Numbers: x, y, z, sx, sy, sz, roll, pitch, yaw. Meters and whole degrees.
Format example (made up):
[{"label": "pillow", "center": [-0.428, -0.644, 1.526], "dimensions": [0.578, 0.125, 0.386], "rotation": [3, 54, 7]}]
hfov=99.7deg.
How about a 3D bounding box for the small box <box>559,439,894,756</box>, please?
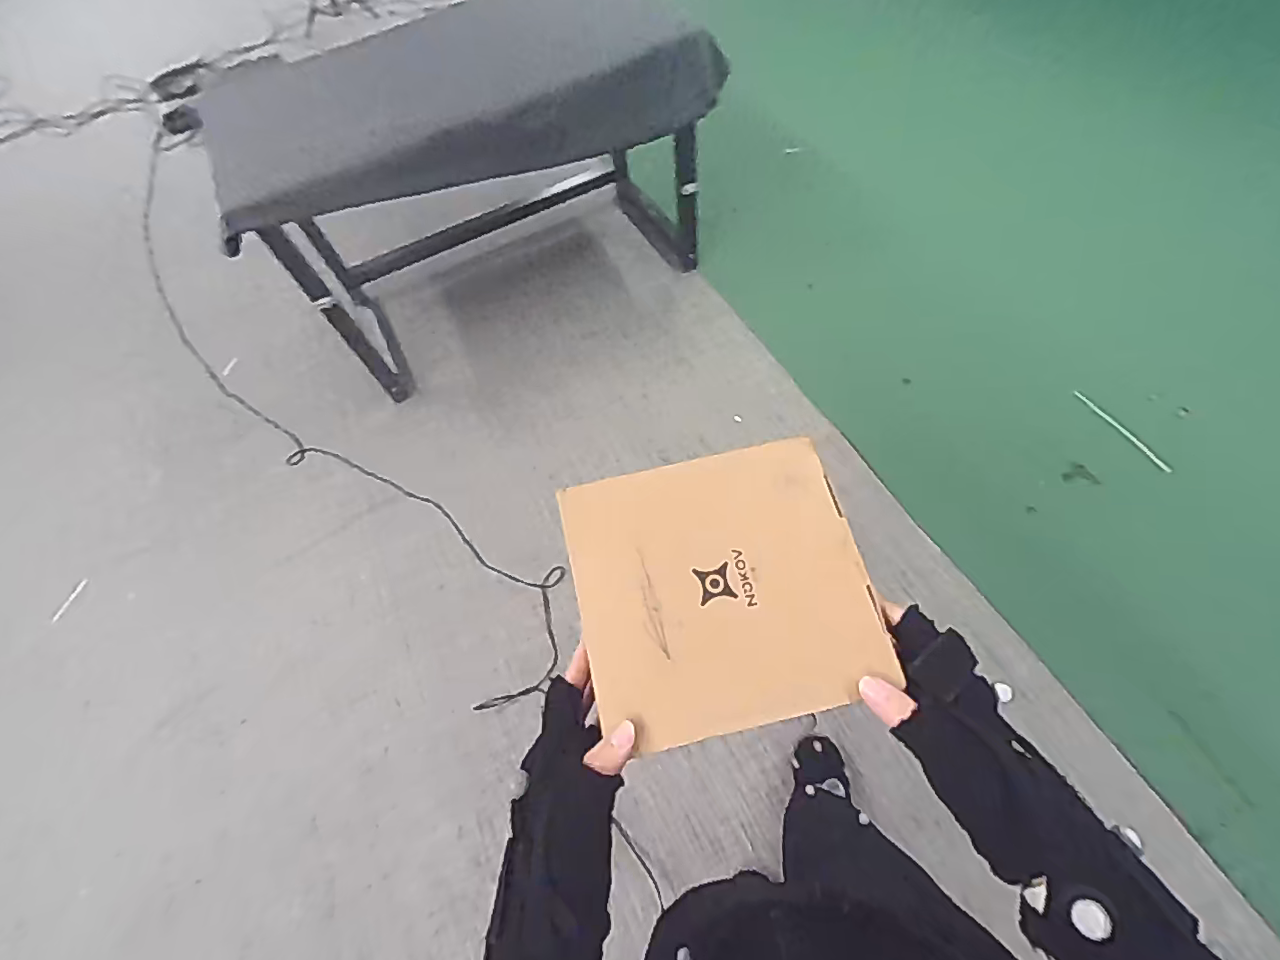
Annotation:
[{"label": "small box", "center": [0.050, 0.093, 0.413], "dimensions": [0.179, 0.176, 0.168], "rotation": [-15, 67, -3]}]
